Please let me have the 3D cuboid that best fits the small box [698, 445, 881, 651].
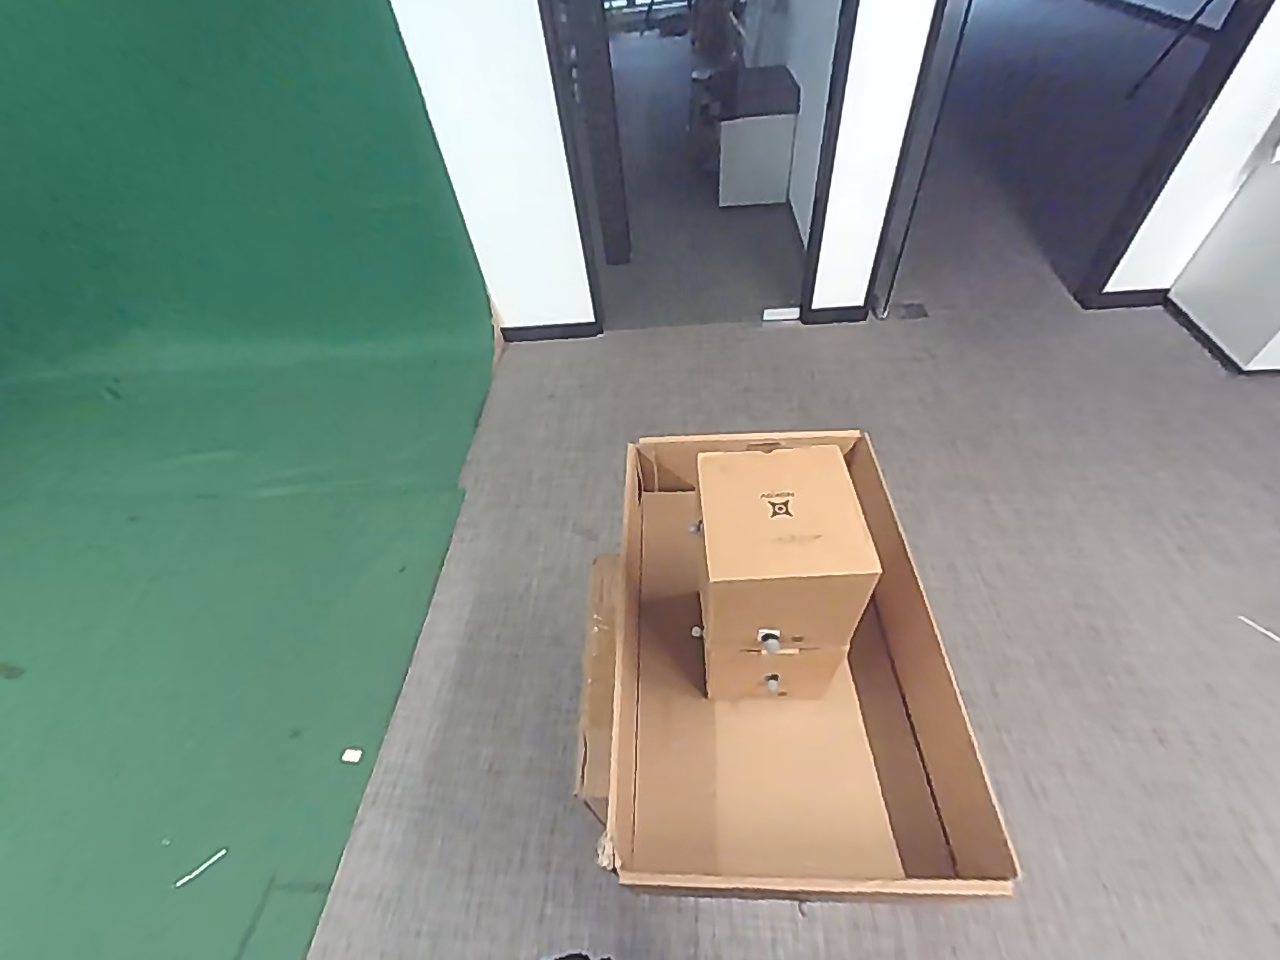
[{"bbox_3d":[0.155,0.081,0.632,0.168,0.176,0.179,-4,49,4],"label":"small box"}]
